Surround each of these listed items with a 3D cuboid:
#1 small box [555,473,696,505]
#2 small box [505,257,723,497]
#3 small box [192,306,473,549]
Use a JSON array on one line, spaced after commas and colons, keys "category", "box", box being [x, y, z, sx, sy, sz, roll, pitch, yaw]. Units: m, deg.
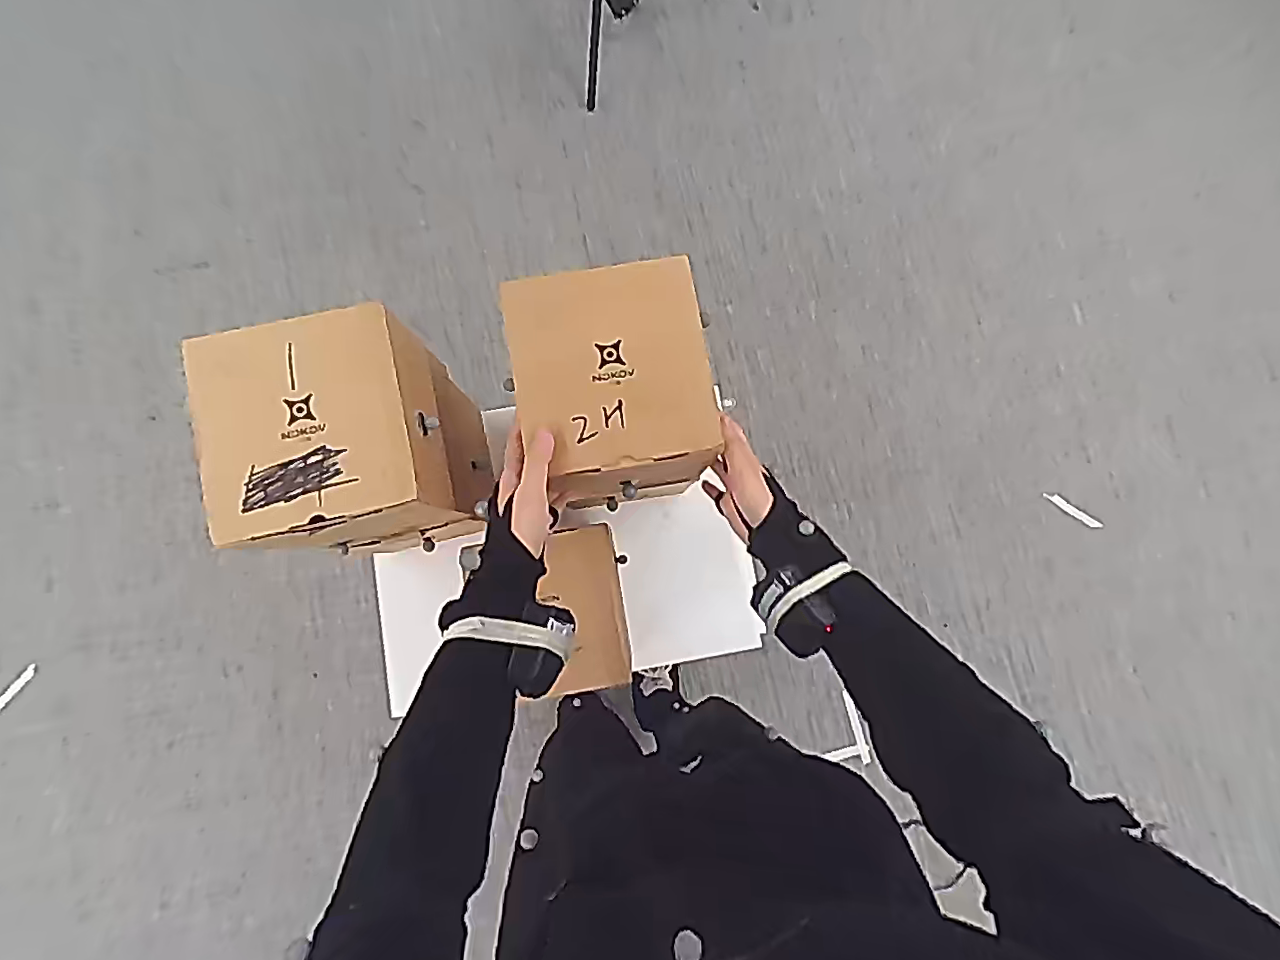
[{"category": "small box", "box": [-0.026, -0.064, 0.699, 0.168, 0.176, 0.179, -9, 83, -2]}, {"category": "small box", "box": [-0.025, -0.088, 0.535, 0.168, 0.176, 0.179, -10, 83, -2]}, {"category": "small box", "box": [-0.275, -0.037, 0.521, 0.168, 0.176, 0.179, -13, 83, -4]}]
